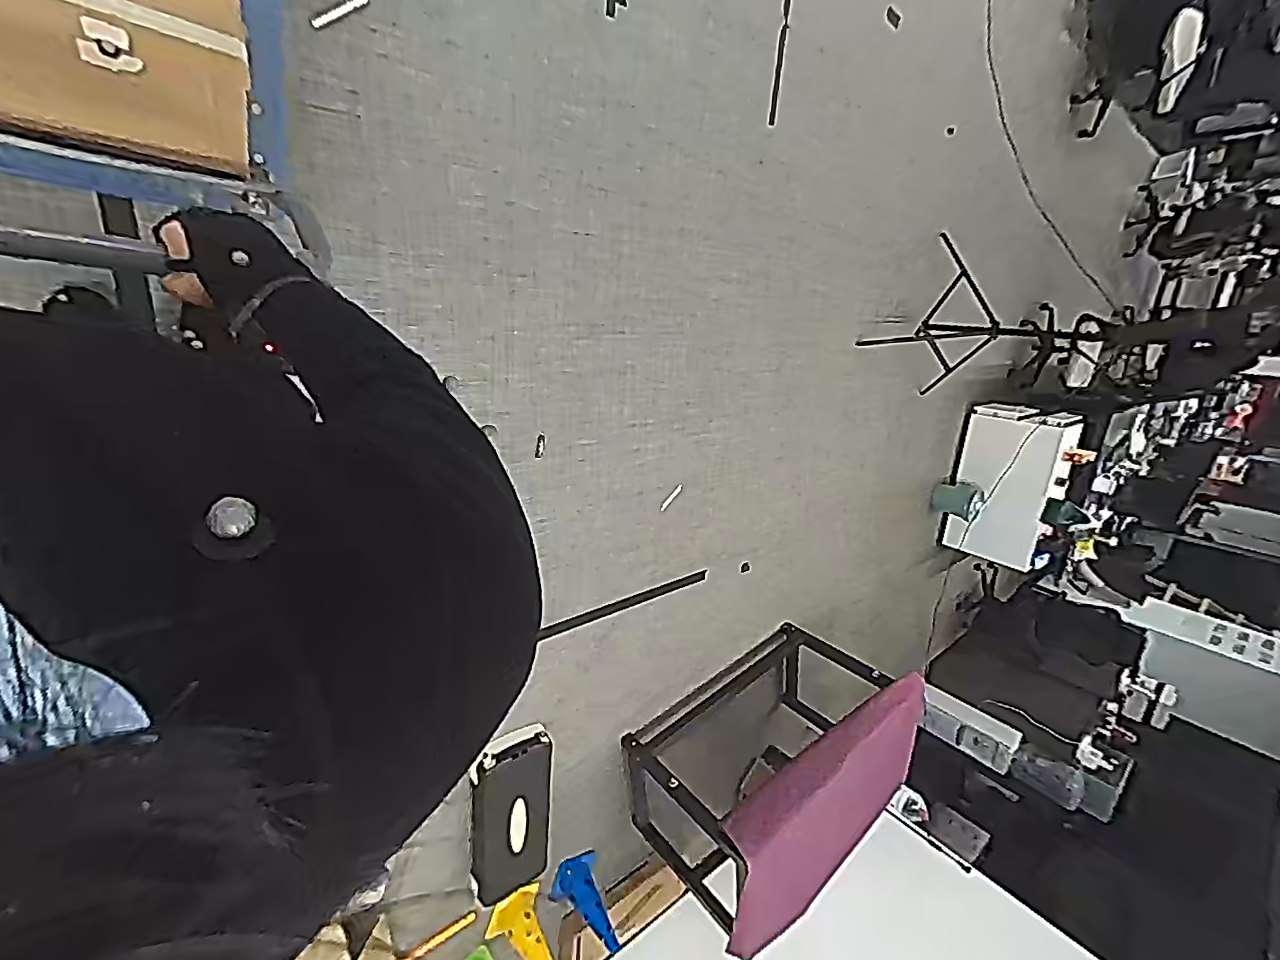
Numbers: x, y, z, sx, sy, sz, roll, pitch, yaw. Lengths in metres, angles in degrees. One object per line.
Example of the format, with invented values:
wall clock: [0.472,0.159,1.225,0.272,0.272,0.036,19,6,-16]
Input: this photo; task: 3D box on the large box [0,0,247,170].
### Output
large box: [-0.796,-0.634,0.717,0.408,0.320,0.320,-6,118,-40]
